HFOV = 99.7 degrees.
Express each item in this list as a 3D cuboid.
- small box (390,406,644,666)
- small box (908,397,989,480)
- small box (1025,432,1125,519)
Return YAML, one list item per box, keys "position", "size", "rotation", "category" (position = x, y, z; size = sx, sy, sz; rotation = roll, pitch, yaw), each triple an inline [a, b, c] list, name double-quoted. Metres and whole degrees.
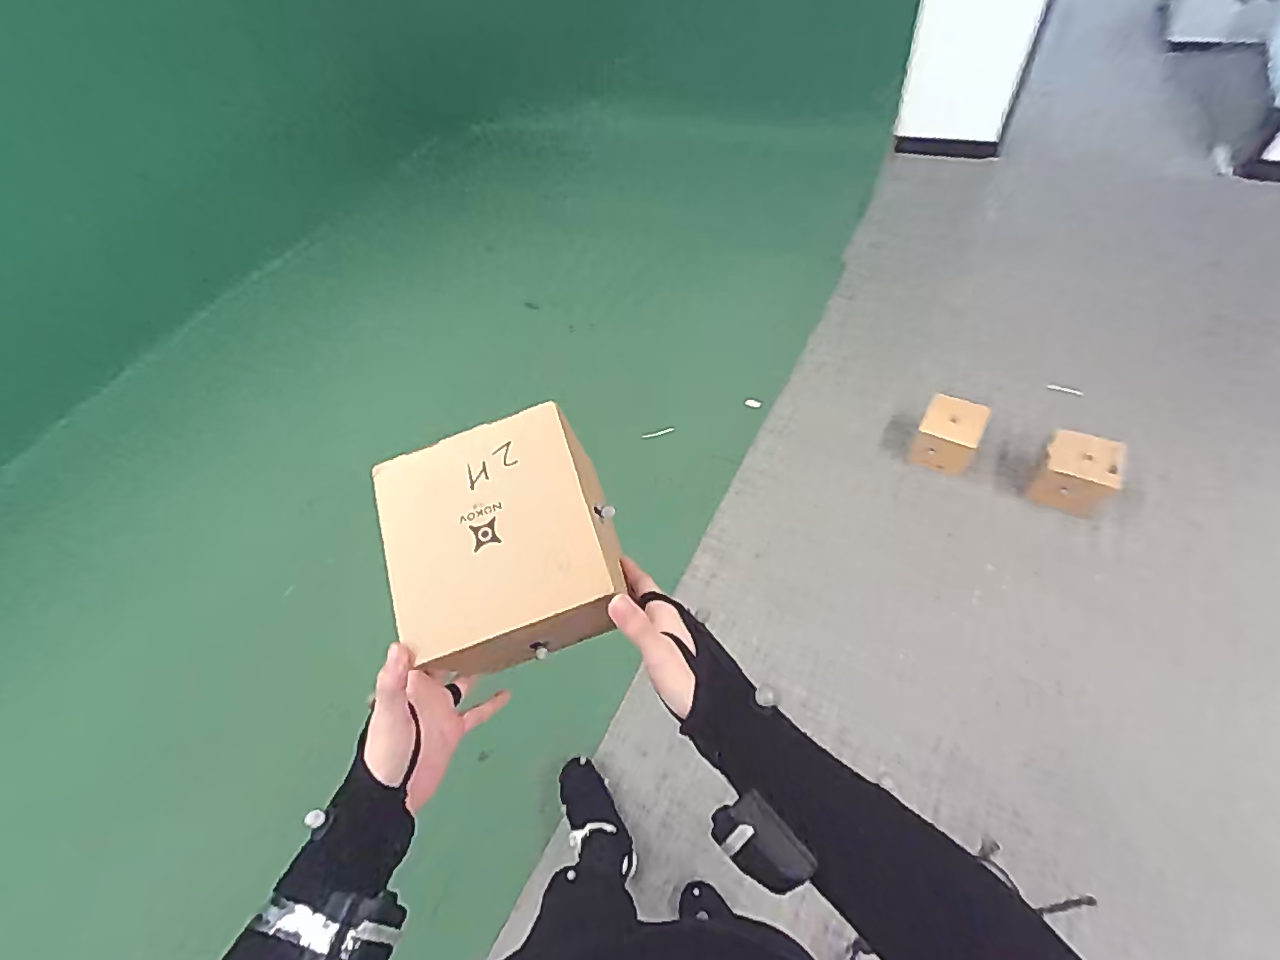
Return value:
- position: [-0.104, 0.065, 0.511]
  size: [0.168, 0.176, 0.179]
  rotation: [-20, 66, 1]
  category: "small box"
- position: [0.980, -0.129, 1.730]
  size: [0.168, 0.176, 0.179]
  rotation: [24, 63, 25]
  category: "small box"
- position: [1.269, -0.010, 1.588]
  size: [0.179, 0.176, 0.168]
  rotation: [21, 63, 24]
  category: "small box"
